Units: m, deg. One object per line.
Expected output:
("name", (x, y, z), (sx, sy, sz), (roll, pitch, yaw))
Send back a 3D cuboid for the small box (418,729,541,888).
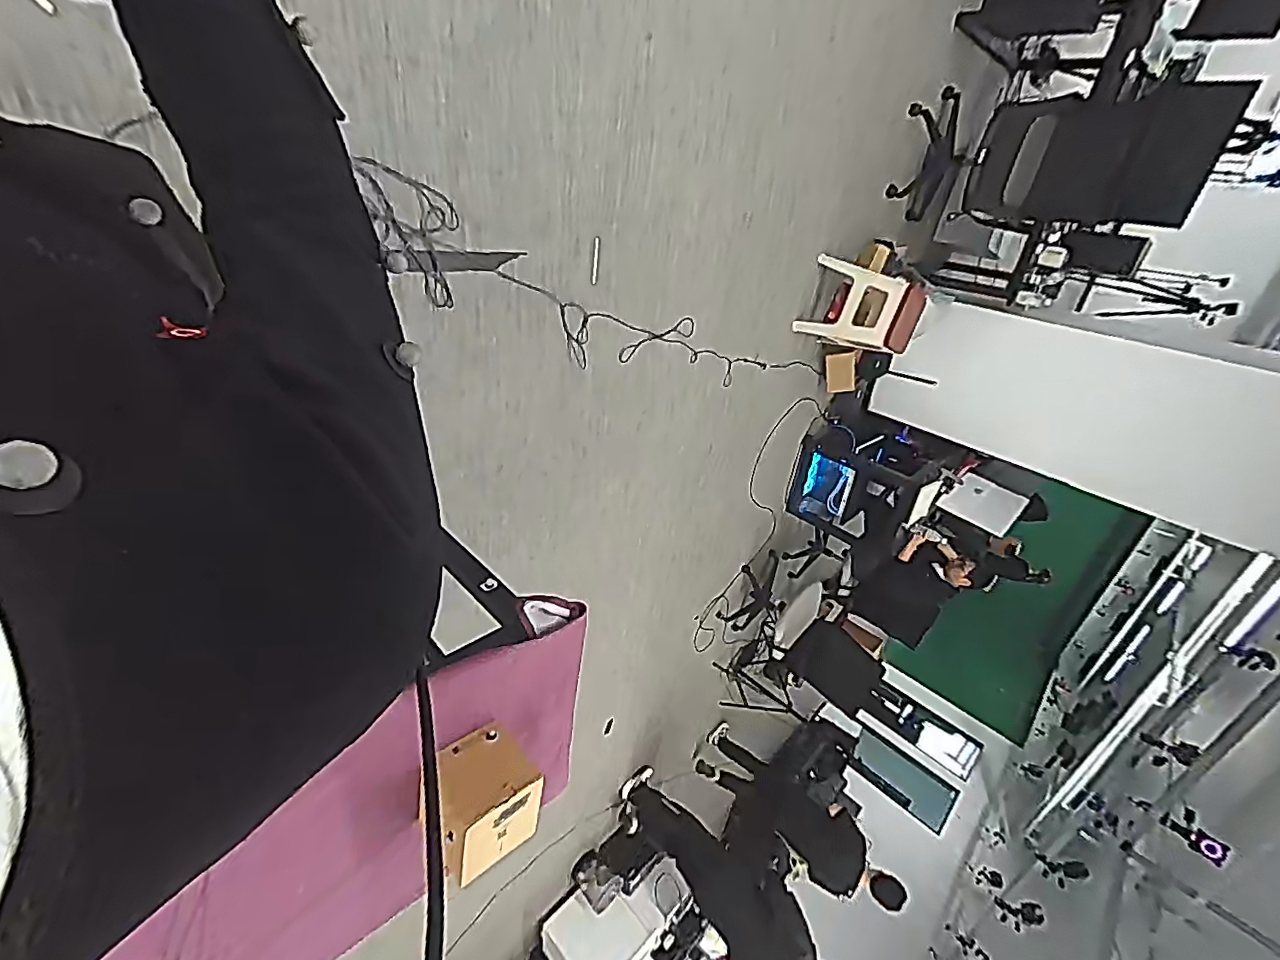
("small box", (-0.316, 0.621, 1.052), (0.168, 0.176, 0.179), (-13, 124, -45))
